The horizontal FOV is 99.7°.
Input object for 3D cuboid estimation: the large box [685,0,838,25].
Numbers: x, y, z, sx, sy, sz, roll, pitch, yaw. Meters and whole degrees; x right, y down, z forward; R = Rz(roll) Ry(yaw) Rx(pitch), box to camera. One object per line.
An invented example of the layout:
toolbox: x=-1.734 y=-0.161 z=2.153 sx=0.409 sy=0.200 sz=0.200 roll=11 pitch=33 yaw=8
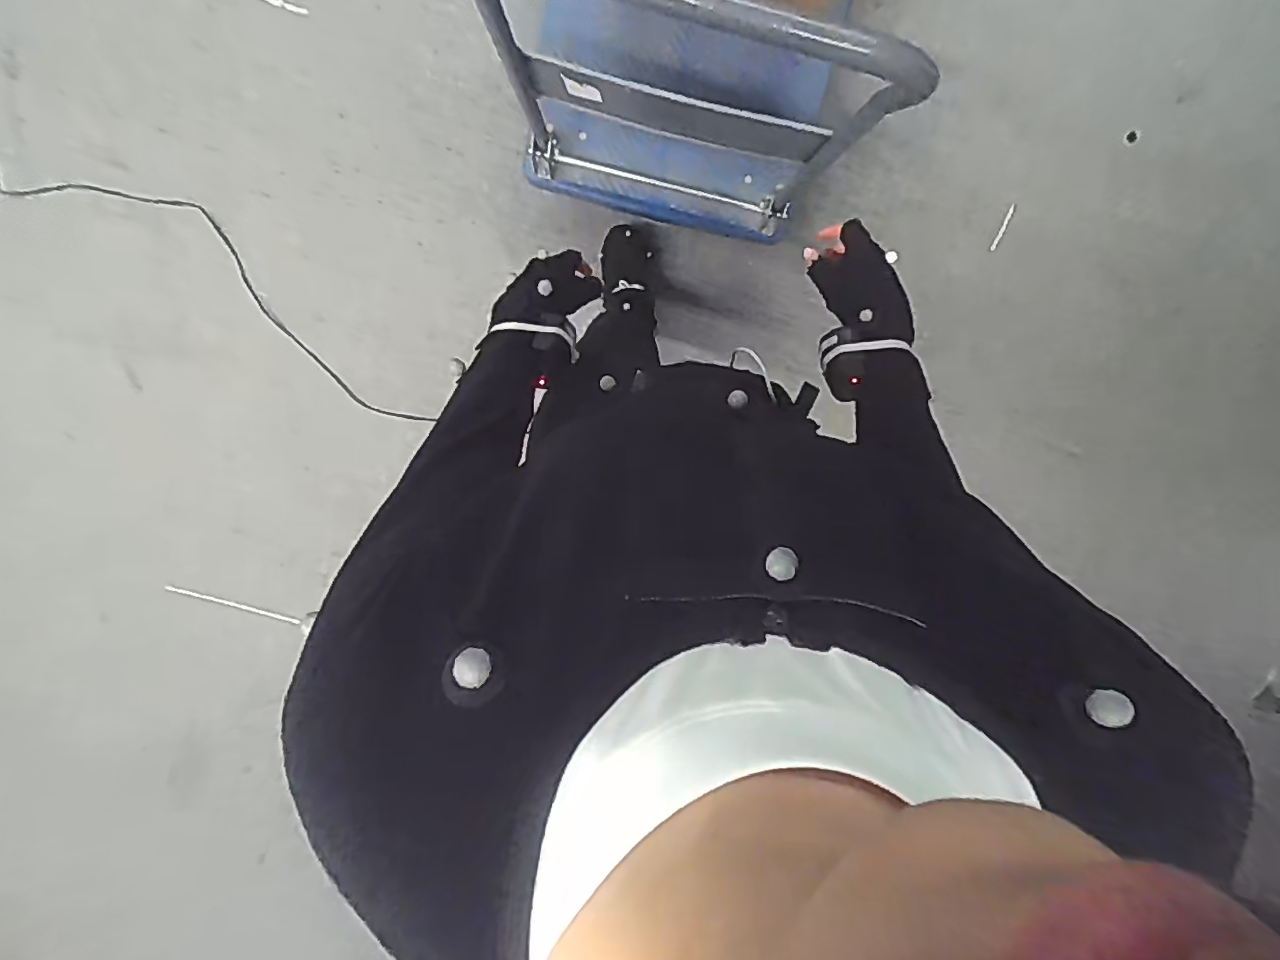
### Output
large box: x=0.187 y=-1.021 z=0.870 sx=0.408 sy=0.320 sz=0.320 roll=10 pitch=105 yaw=-2
